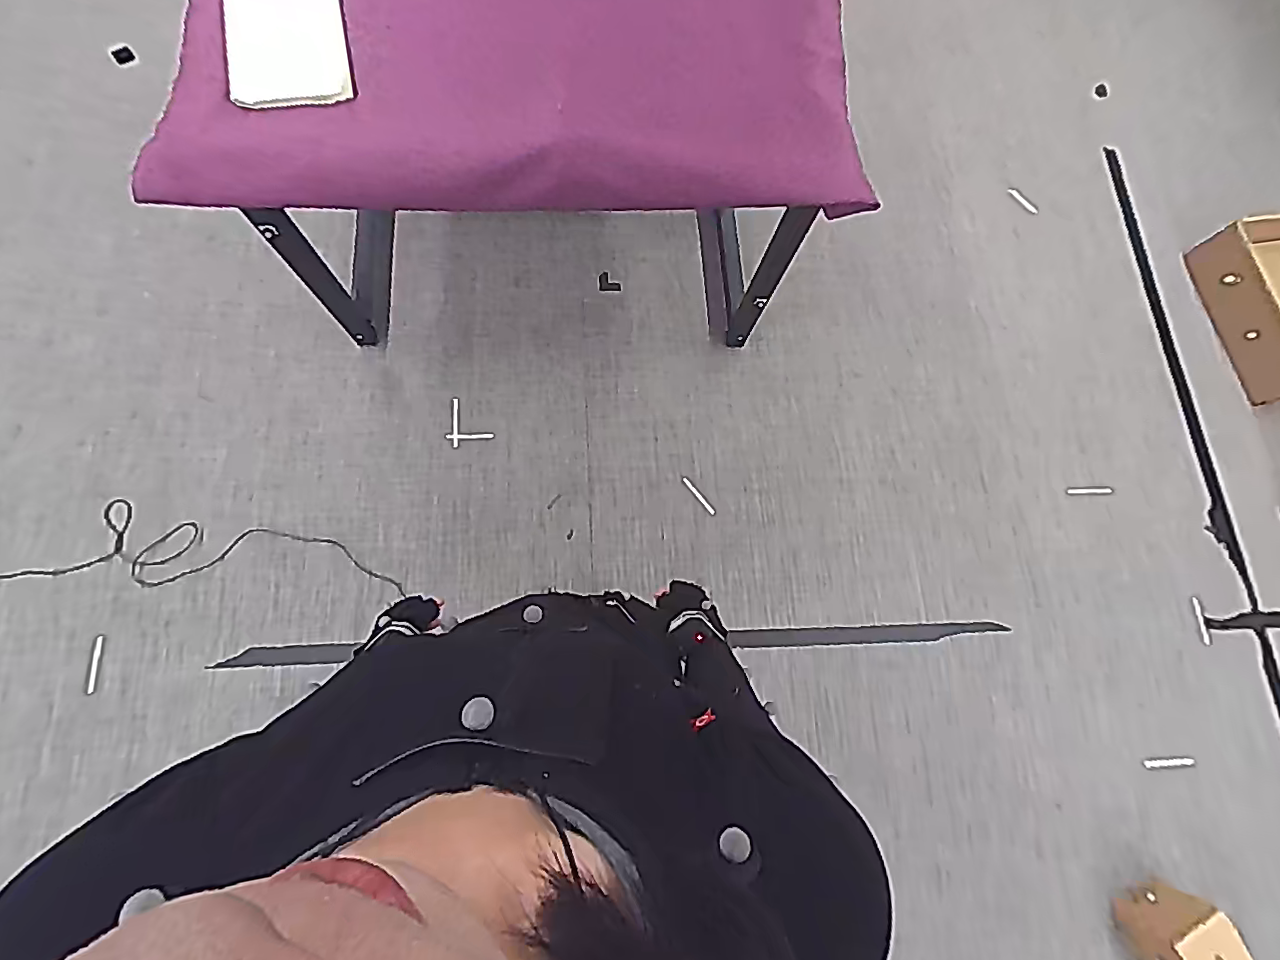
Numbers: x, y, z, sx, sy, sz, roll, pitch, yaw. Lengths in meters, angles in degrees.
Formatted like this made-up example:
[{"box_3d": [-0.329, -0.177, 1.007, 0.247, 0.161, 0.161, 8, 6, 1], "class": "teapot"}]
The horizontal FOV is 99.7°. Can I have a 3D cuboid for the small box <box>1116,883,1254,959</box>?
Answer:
[{"box_3d": [1.378, 1.175, 1.361, 0.168, 0.176, 0.179, -23, 79, -10], "class": "small box"}]
